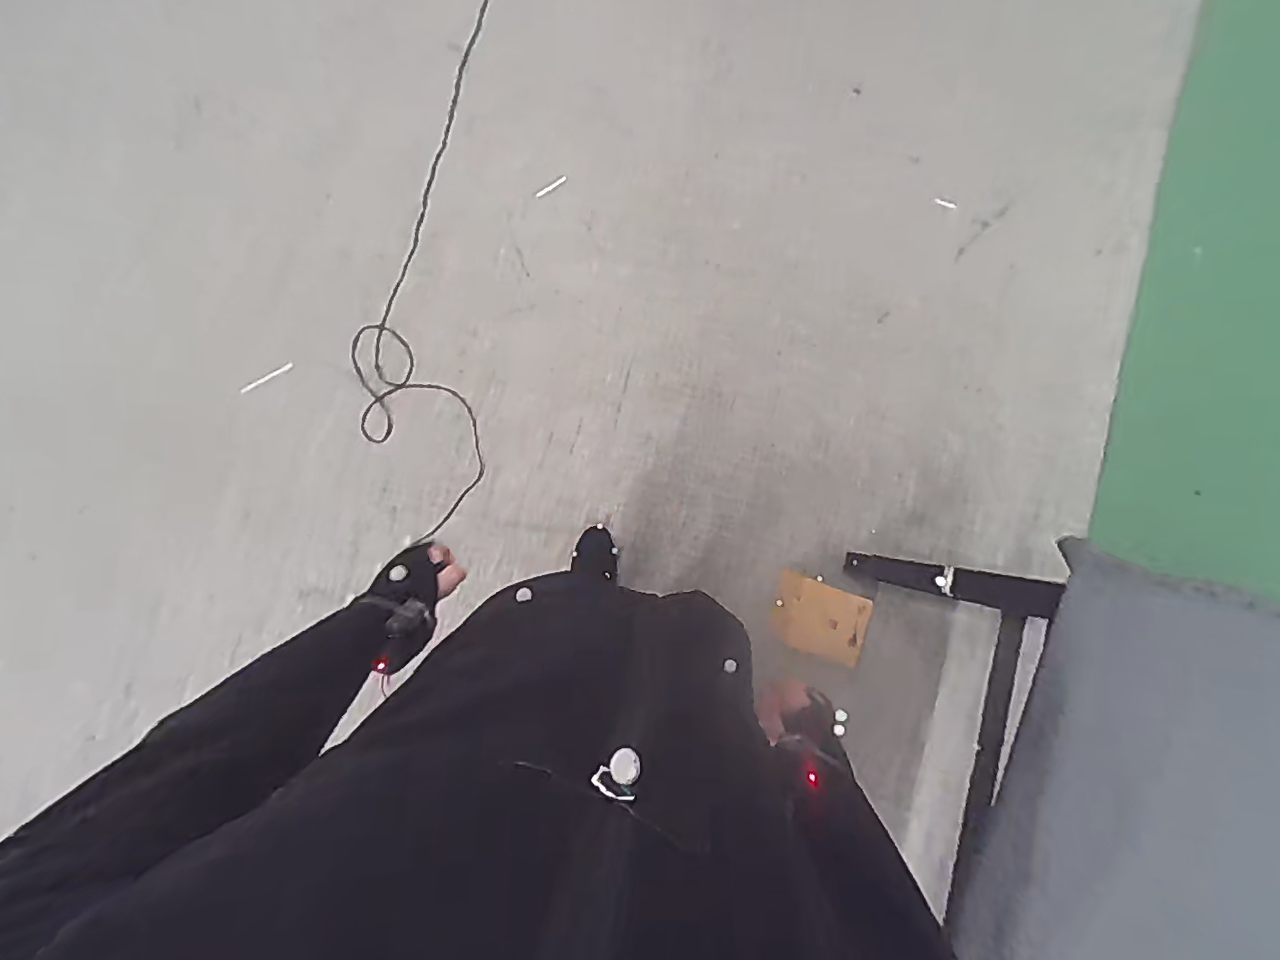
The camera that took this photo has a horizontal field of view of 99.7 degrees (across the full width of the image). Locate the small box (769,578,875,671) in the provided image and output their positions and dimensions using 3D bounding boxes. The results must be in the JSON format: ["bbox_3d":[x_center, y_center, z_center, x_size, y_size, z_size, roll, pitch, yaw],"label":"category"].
[{"bbox_3d":[0.439,0.348,1.338,0.179,0.176,0.168,19,85,-3],"label":"small box"}]
